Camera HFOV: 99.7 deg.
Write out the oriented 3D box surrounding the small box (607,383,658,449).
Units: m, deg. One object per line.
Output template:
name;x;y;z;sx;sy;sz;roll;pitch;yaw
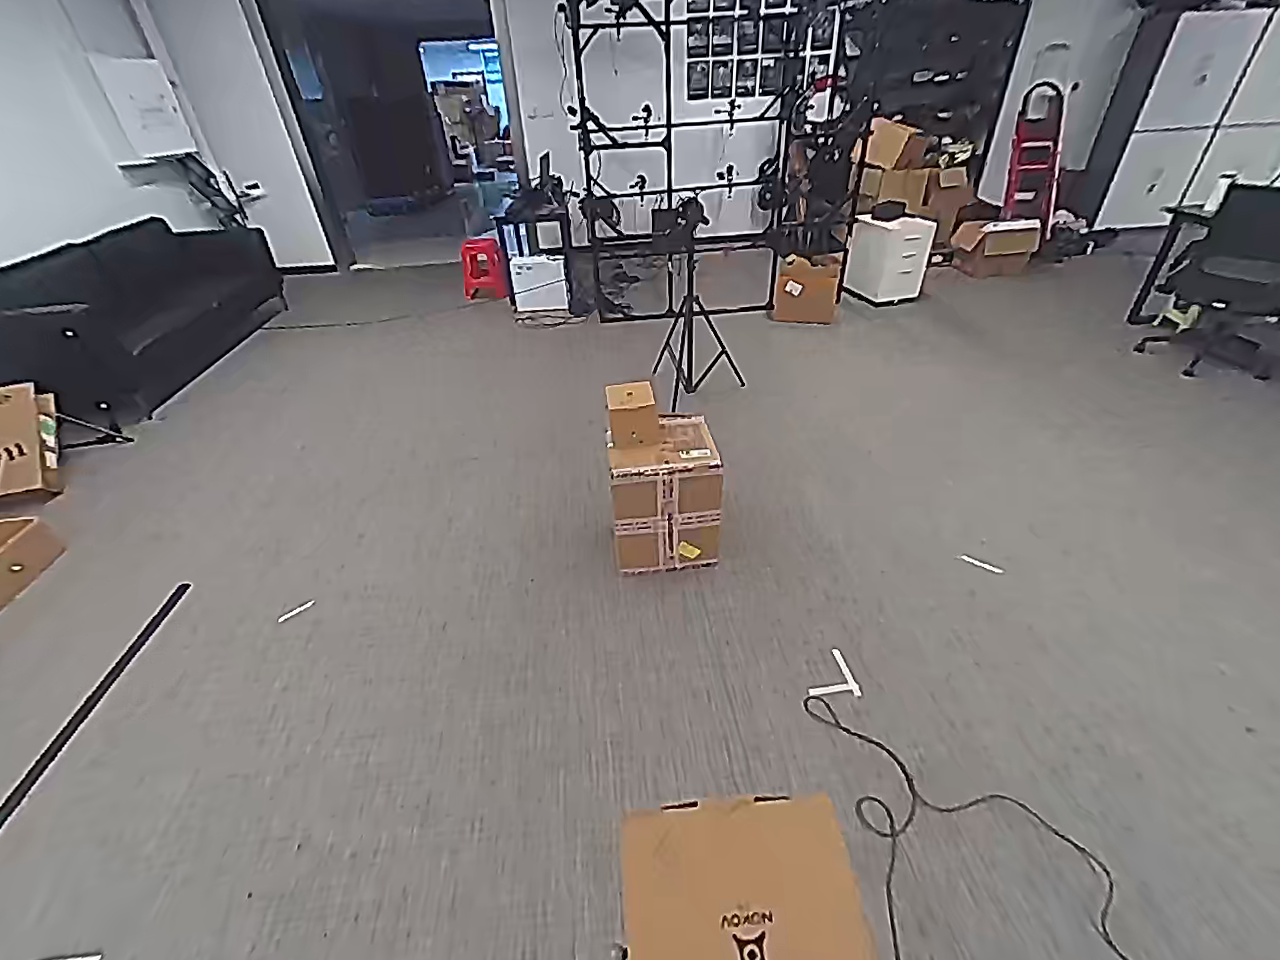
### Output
small box;-0.028;-0.234;1.976;0.168;0.176;0.179;-7;39;-2
